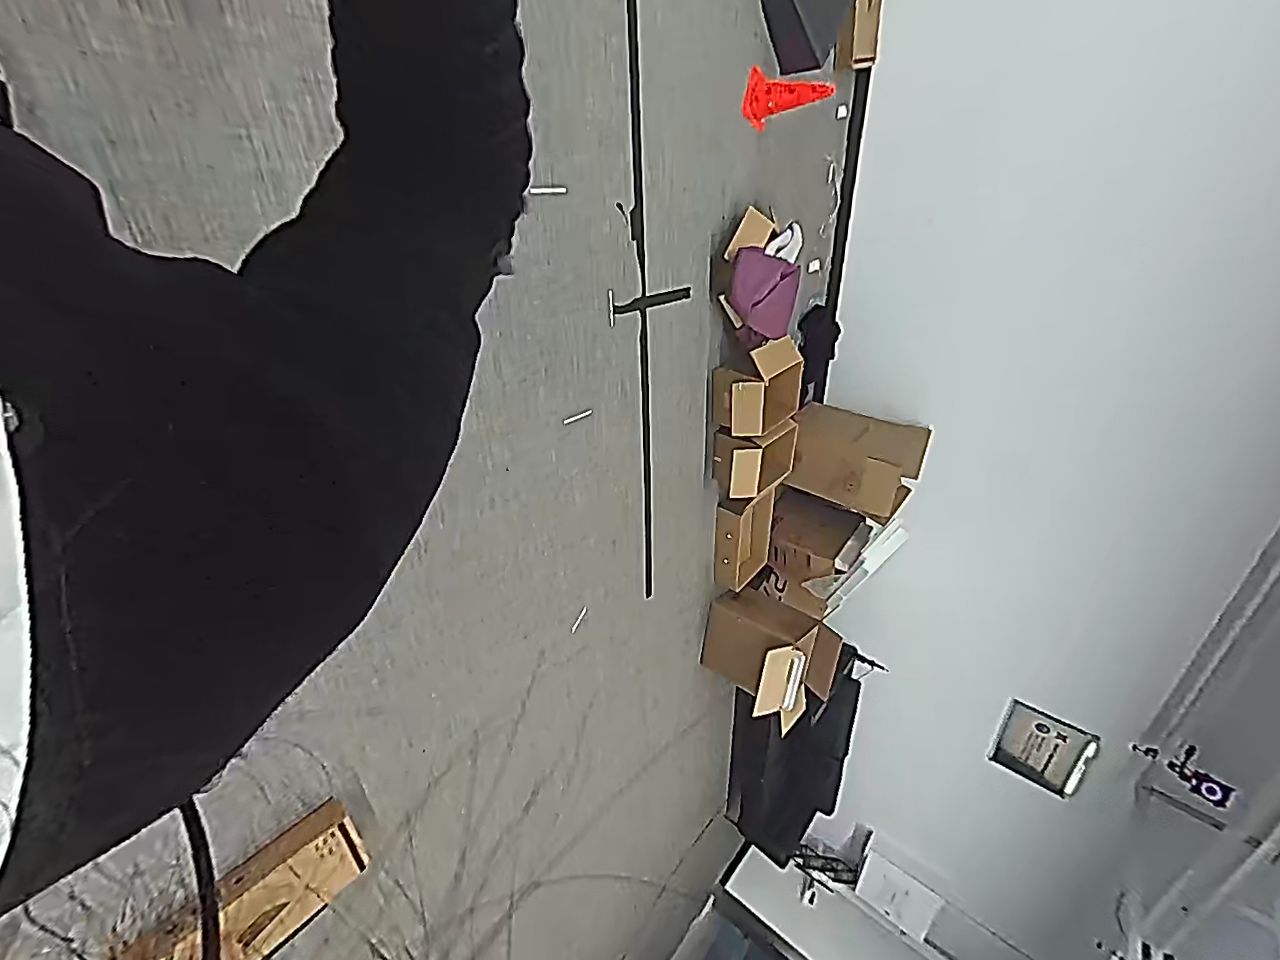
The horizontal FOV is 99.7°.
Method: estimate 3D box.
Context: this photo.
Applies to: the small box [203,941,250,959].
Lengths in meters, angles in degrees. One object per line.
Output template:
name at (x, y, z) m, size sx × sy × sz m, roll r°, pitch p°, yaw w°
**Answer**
small box at (-1.168, 1.435, 1.490) m, size 0.168 × 0.176 × 0.179 m, roll -33°, pitch 131°, yaw -40°
